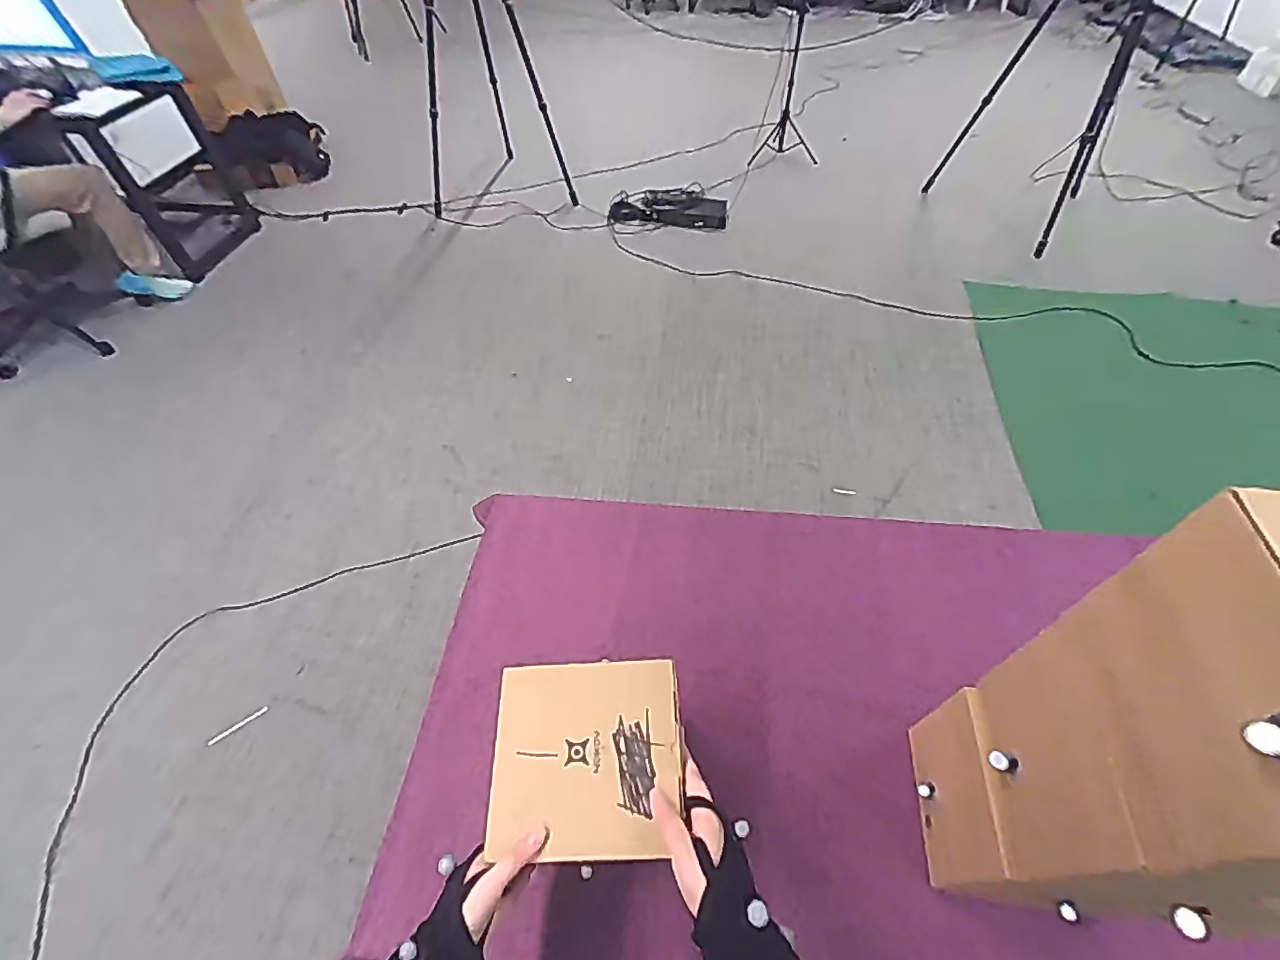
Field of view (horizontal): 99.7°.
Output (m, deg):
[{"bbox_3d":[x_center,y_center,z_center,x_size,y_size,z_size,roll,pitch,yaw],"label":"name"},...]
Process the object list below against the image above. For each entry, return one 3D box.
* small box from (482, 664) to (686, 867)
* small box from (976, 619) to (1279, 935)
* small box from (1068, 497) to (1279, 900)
[{"bbox_3d":[-0.044,0.298,0.565,0.179,0.176,0.168,-4,57,3],"label":"small box"},{"bbox_3d":[0.404,0.240,0.435,0.168,0.176,0.179,9,52,8],"label":"small box"},{"bbox_3d":[0.398,0.136,0.306,0.168,0.176,0.179,7,51,8],"label":"small box"}]
